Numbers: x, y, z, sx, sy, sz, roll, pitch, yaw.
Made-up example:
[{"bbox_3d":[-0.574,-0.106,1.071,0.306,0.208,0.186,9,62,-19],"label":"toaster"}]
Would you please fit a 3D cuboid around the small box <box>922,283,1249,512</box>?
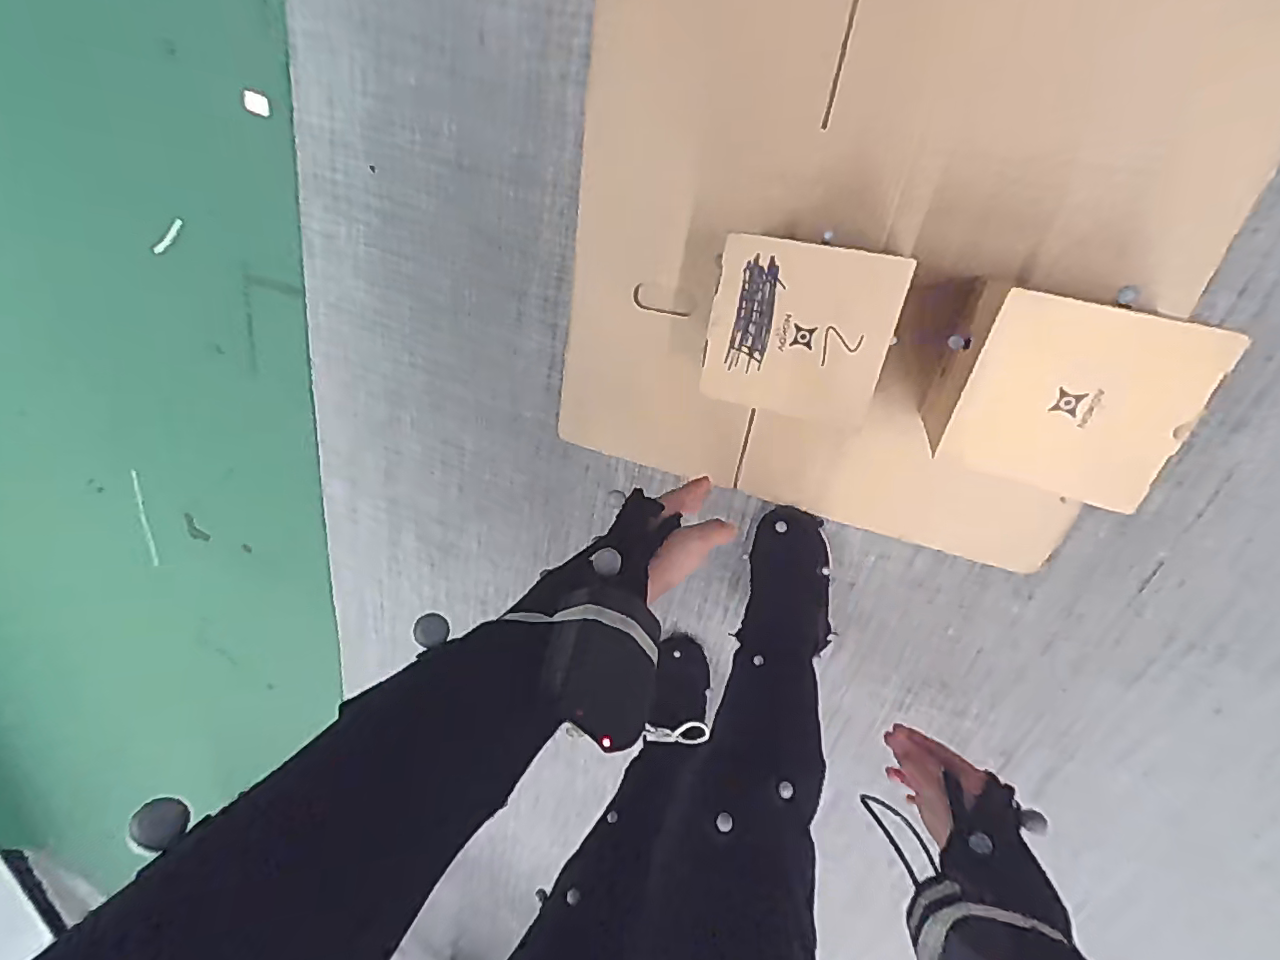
[{"bbox_3d":[0.406,-0.096,0.541,0.179,0.176,0.168,19,117,14],"label":"small box"}]
